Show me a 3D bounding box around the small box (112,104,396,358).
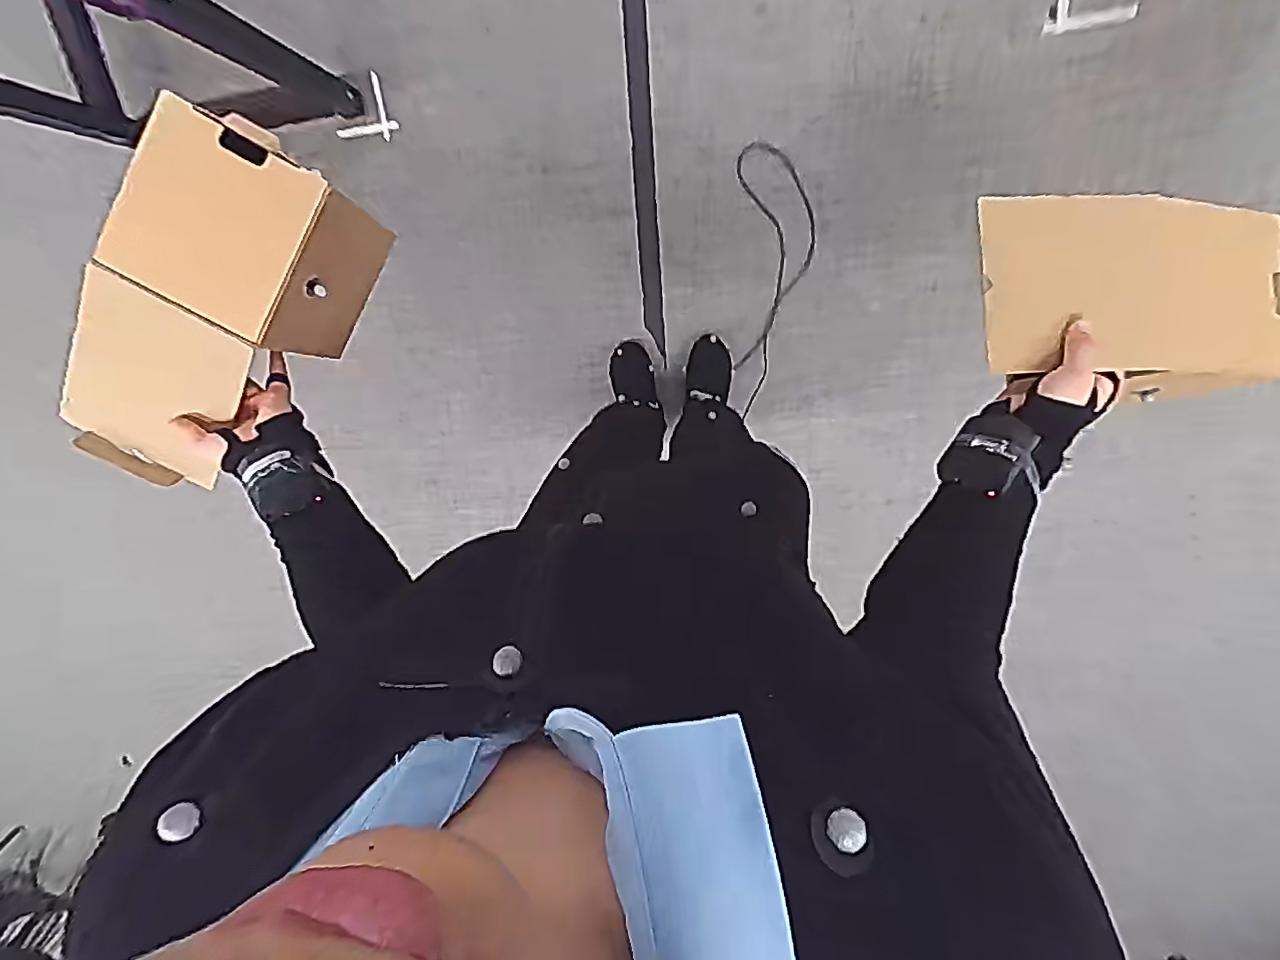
[{"bbox_3d":[-0.407,-0.253,0.605,0.168,0.176,0.179,29,95,-6],"label":"small box"}]
